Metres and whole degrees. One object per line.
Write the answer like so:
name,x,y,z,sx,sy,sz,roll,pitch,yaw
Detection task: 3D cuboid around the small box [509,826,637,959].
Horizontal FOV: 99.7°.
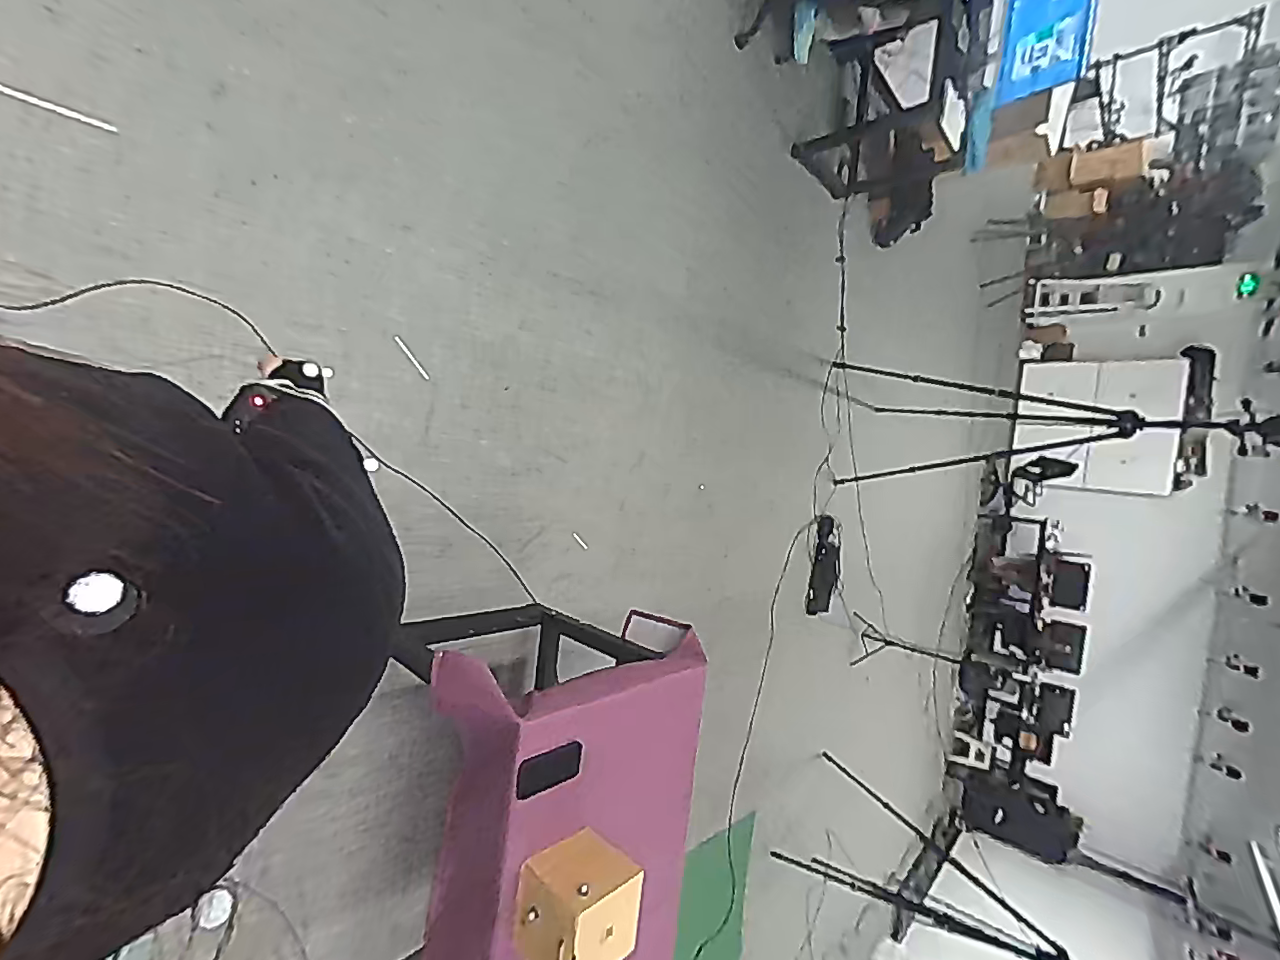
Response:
small box,-0.133,0.834,1.074,0.179,0.176,0.168,6,92,-48
